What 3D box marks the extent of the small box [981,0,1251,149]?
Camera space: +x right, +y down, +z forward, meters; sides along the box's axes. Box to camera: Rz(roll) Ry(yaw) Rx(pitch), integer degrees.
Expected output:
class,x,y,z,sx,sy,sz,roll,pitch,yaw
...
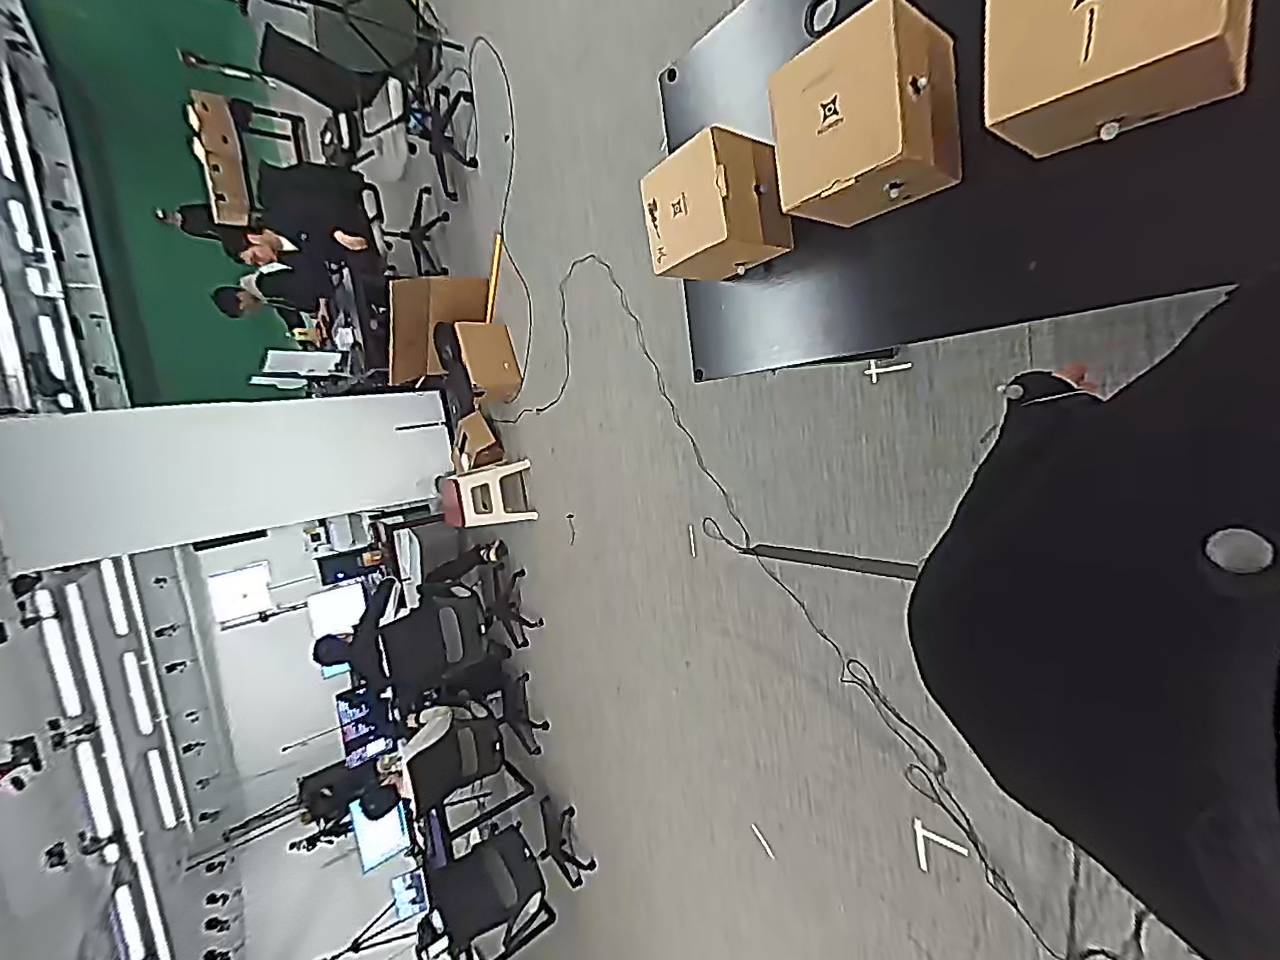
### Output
class,x,y,z,sx,sy,sz,roll,pitch,yaw
small box,0.443,-0.446,0.505,0.168,0.176,0.179,7,106,51

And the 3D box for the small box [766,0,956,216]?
class,x,y,z,sx,sy,sz,roll,pitch,yaw
small box,0.288,-0.461,0.700,0.168,0.176,0.179,-1,99,51

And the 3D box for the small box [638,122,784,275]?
class,x,y,z,sx,sy,sz,roll,pitch,yaw
small box,0.125,-0.454,0.905,0.179,0.176,0.168,-3,97,51
